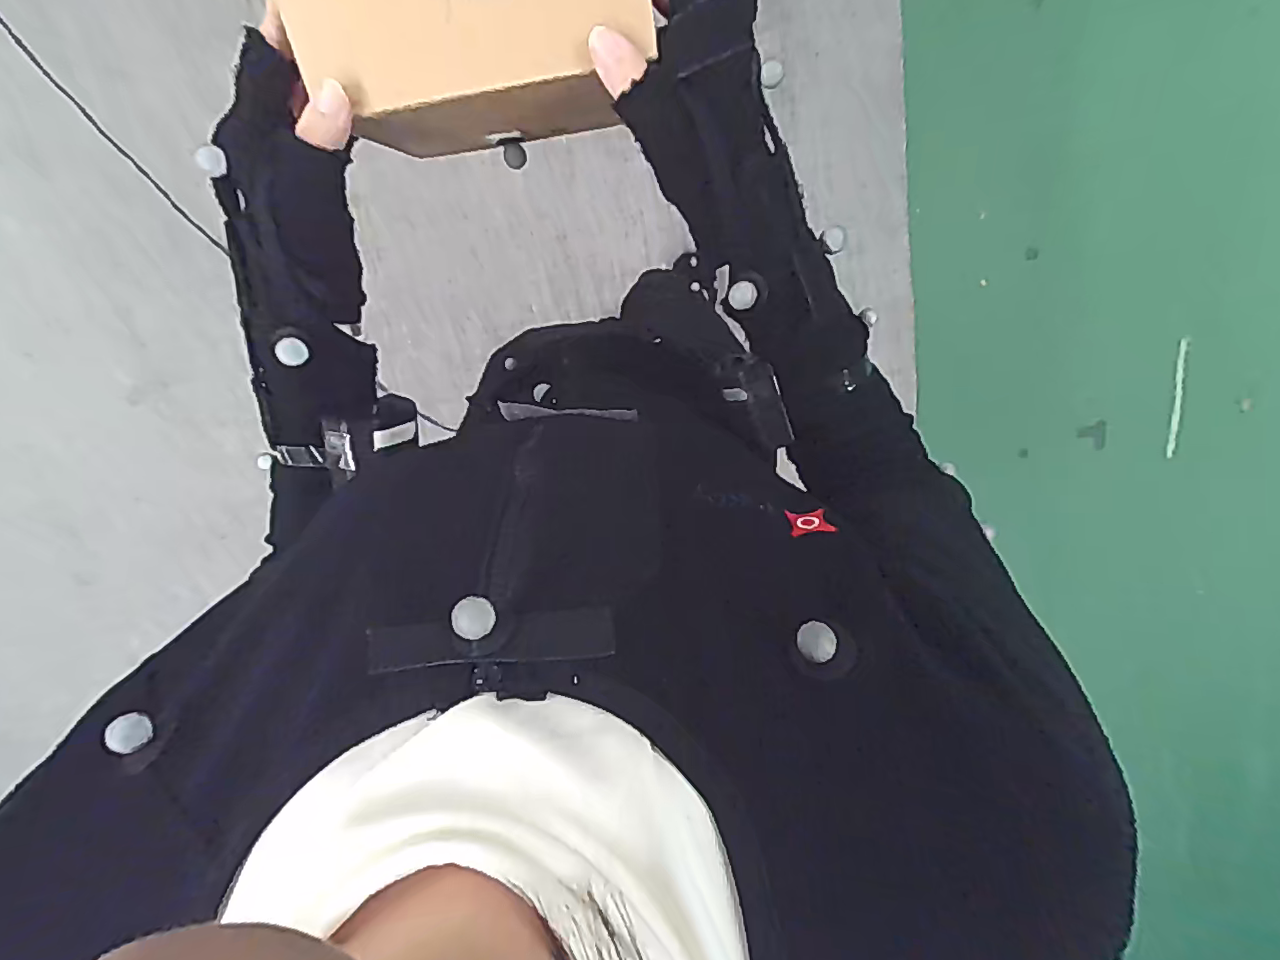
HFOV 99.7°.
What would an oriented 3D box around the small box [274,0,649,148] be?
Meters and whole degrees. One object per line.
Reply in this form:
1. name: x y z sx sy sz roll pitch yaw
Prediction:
1. small box: -0.092 -0.301 0.290 0.168 0.176 0.179 -9 115 2
